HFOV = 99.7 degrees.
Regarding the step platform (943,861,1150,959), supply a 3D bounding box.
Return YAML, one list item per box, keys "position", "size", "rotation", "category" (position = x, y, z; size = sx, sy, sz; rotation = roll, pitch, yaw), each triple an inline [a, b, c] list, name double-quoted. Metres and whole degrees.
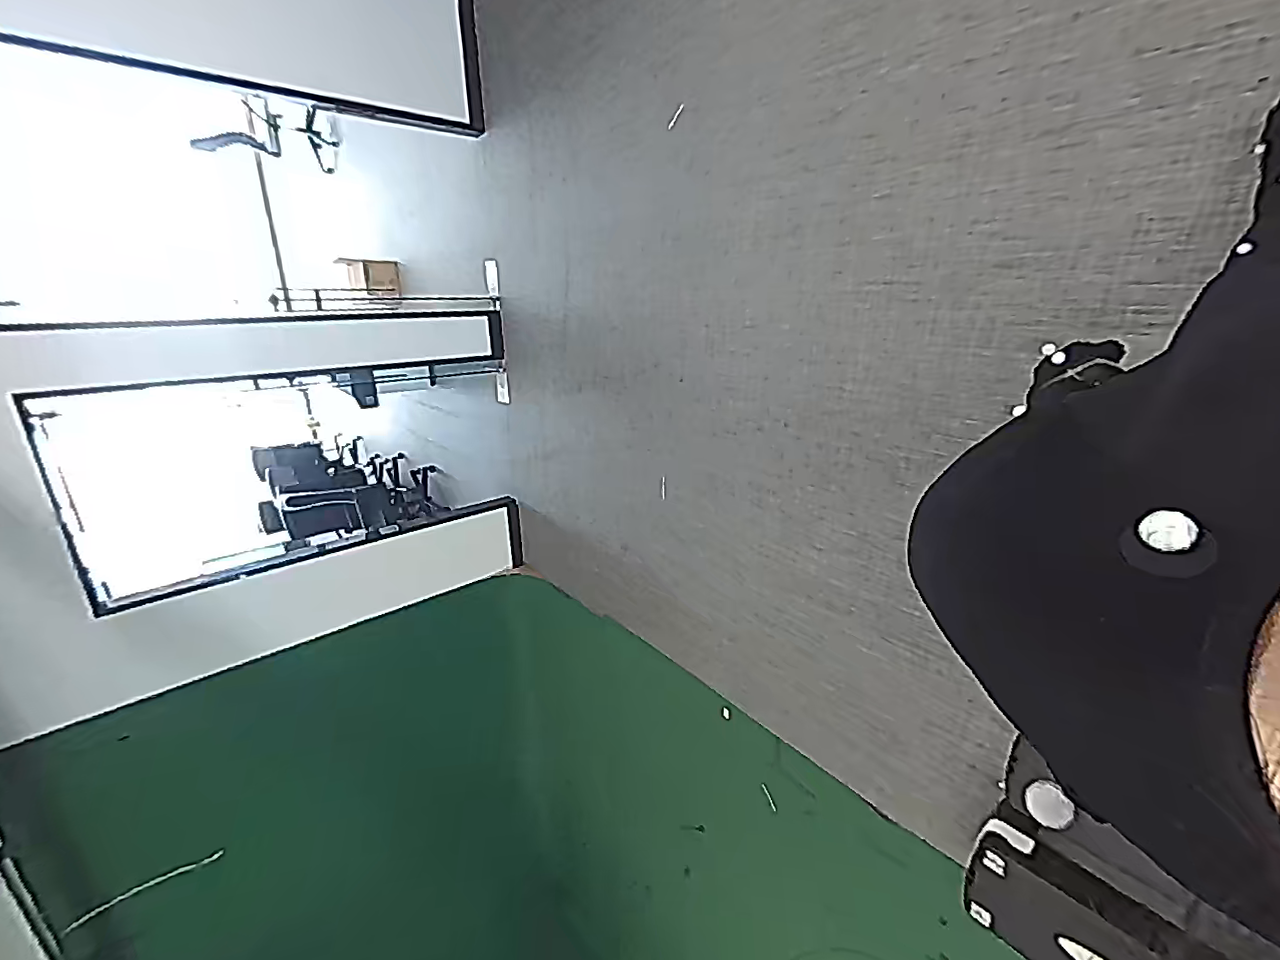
- position: [1.048, 1.184, 1.147]
  size: [0.684, 0.204, 0.286]
  rotation: [19, 117, 45]
  category: "step platform"
